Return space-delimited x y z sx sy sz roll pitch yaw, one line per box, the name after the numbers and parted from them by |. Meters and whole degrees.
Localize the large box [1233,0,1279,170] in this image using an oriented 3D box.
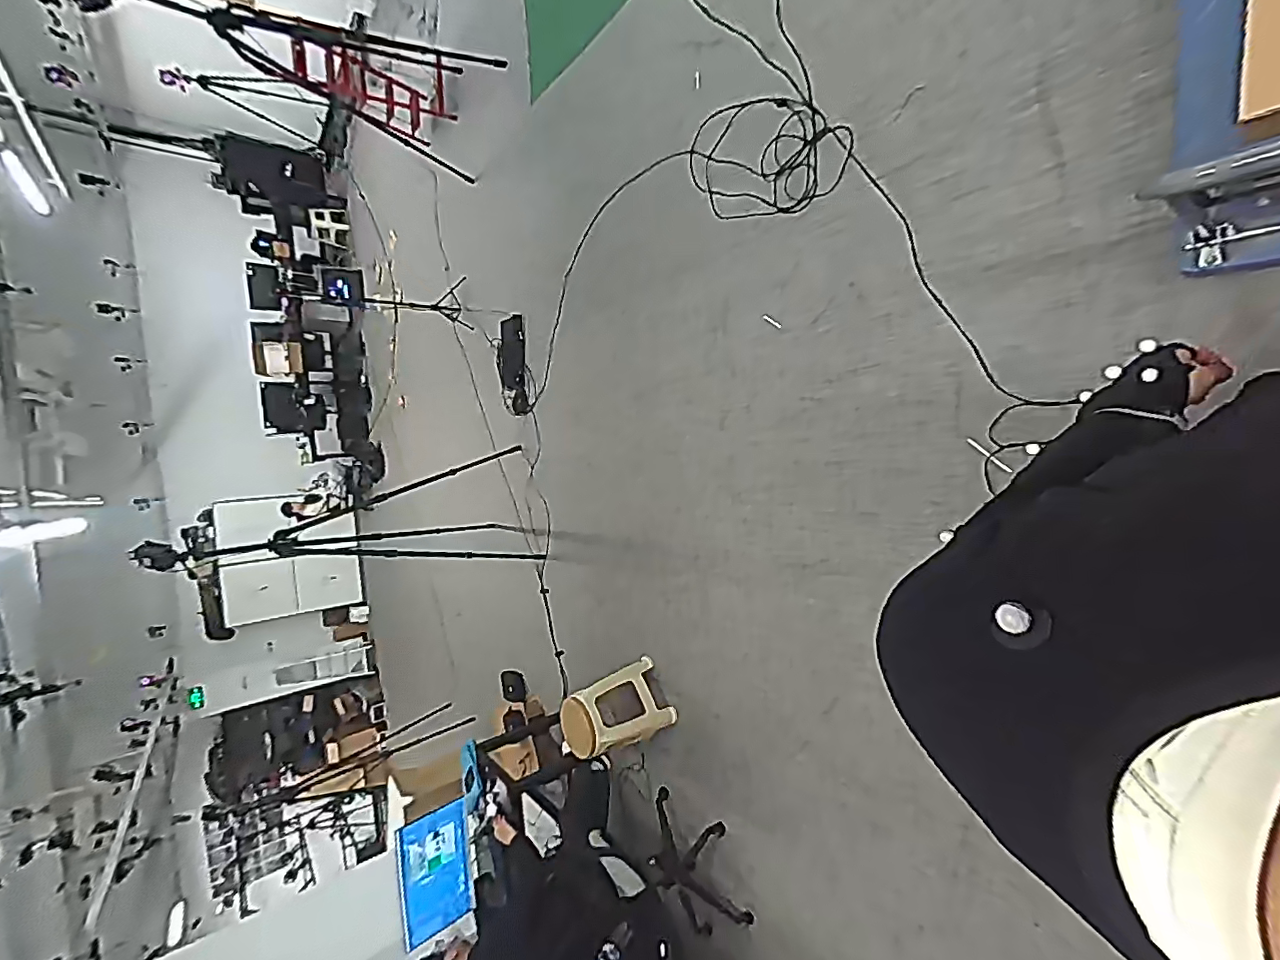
1.065 -0.721 0.733 0.320 0.320 0.408 6 100 51 | large box
